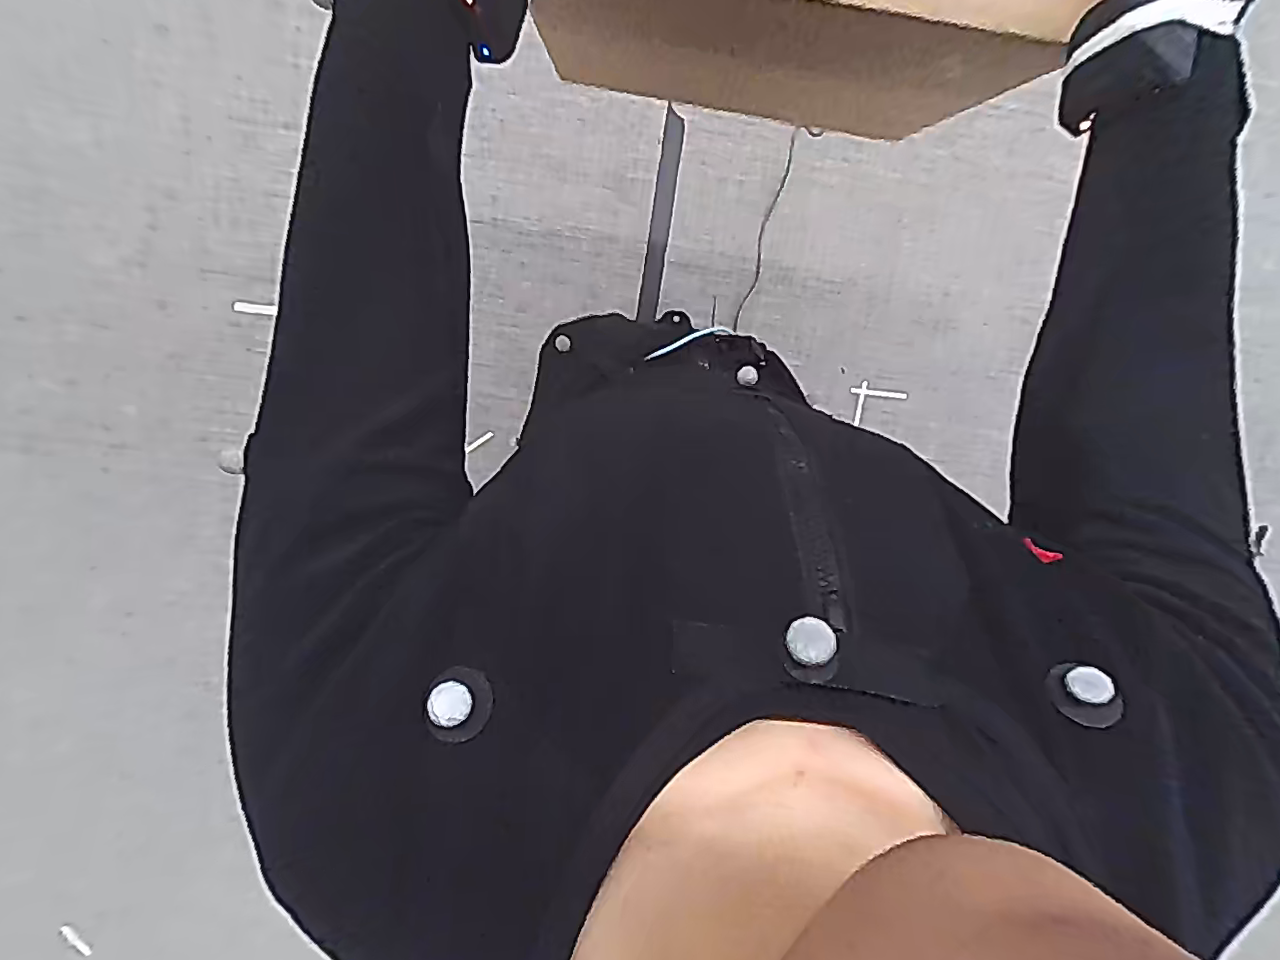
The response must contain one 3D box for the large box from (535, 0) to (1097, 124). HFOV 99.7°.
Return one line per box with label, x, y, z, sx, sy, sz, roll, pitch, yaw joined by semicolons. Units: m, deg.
large box;0.125;-0.524;0.438;0.408;0.320;0.320;7;114;-4
